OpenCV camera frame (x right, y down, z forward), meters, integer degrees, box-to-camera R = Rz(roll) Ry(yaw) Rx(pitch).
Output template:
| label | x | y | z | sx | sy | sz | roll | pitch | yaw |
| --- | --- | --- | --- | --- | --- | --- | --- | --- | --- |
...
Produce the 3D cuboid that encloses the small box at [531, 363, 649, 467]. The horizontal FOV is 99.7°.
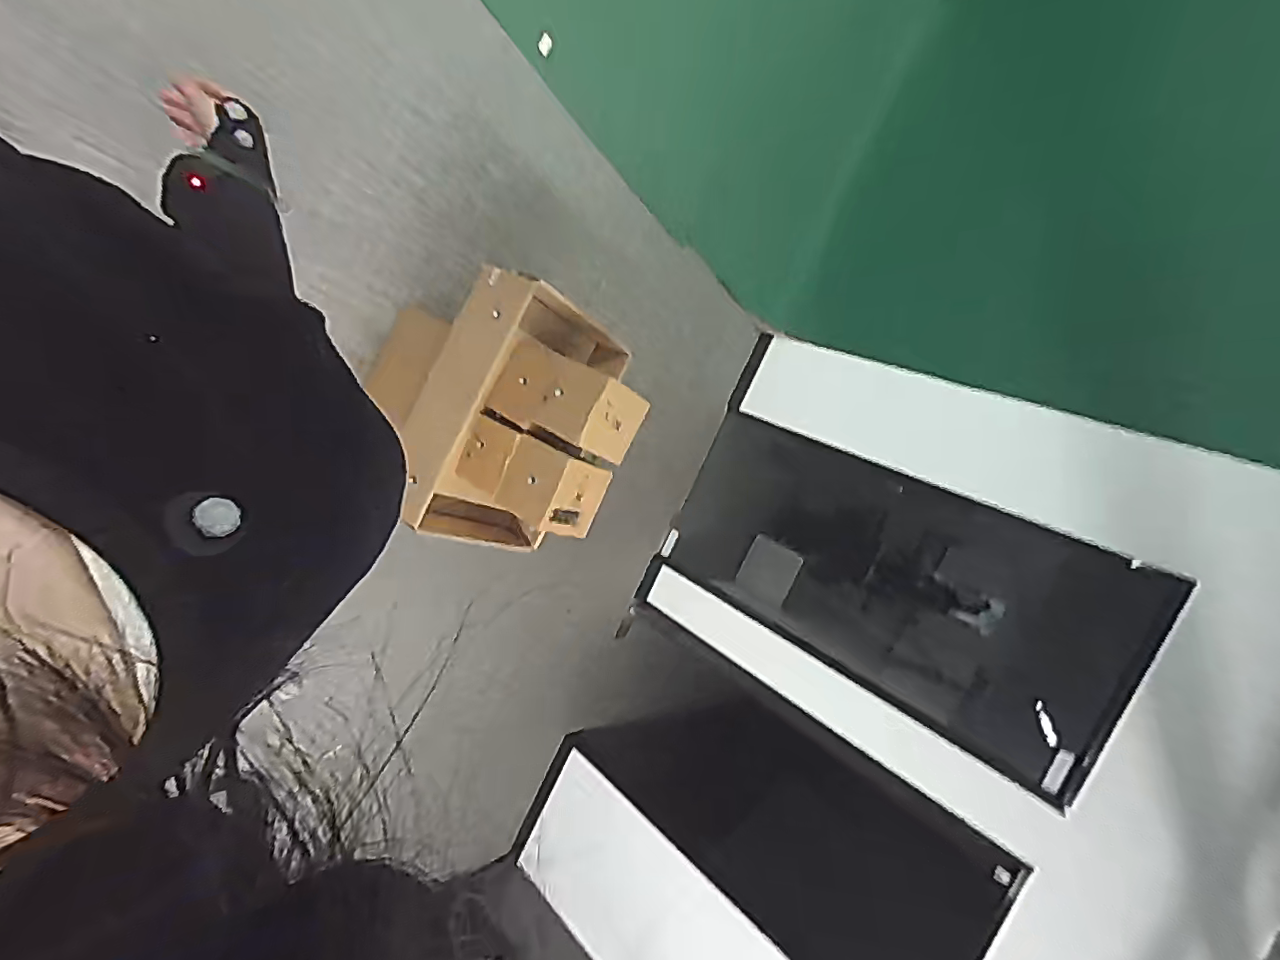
| label | x | y | z | sx | sy | sz | roll | pitch | yaw |
| --- | --- | --- | --- | --- | --- | --- | --- | --- | --- |
| small box | -0.116 | -0.153 | 1.260 | 0.179 | 0.176 | 0.168 | 27 | 91 | -56 |
